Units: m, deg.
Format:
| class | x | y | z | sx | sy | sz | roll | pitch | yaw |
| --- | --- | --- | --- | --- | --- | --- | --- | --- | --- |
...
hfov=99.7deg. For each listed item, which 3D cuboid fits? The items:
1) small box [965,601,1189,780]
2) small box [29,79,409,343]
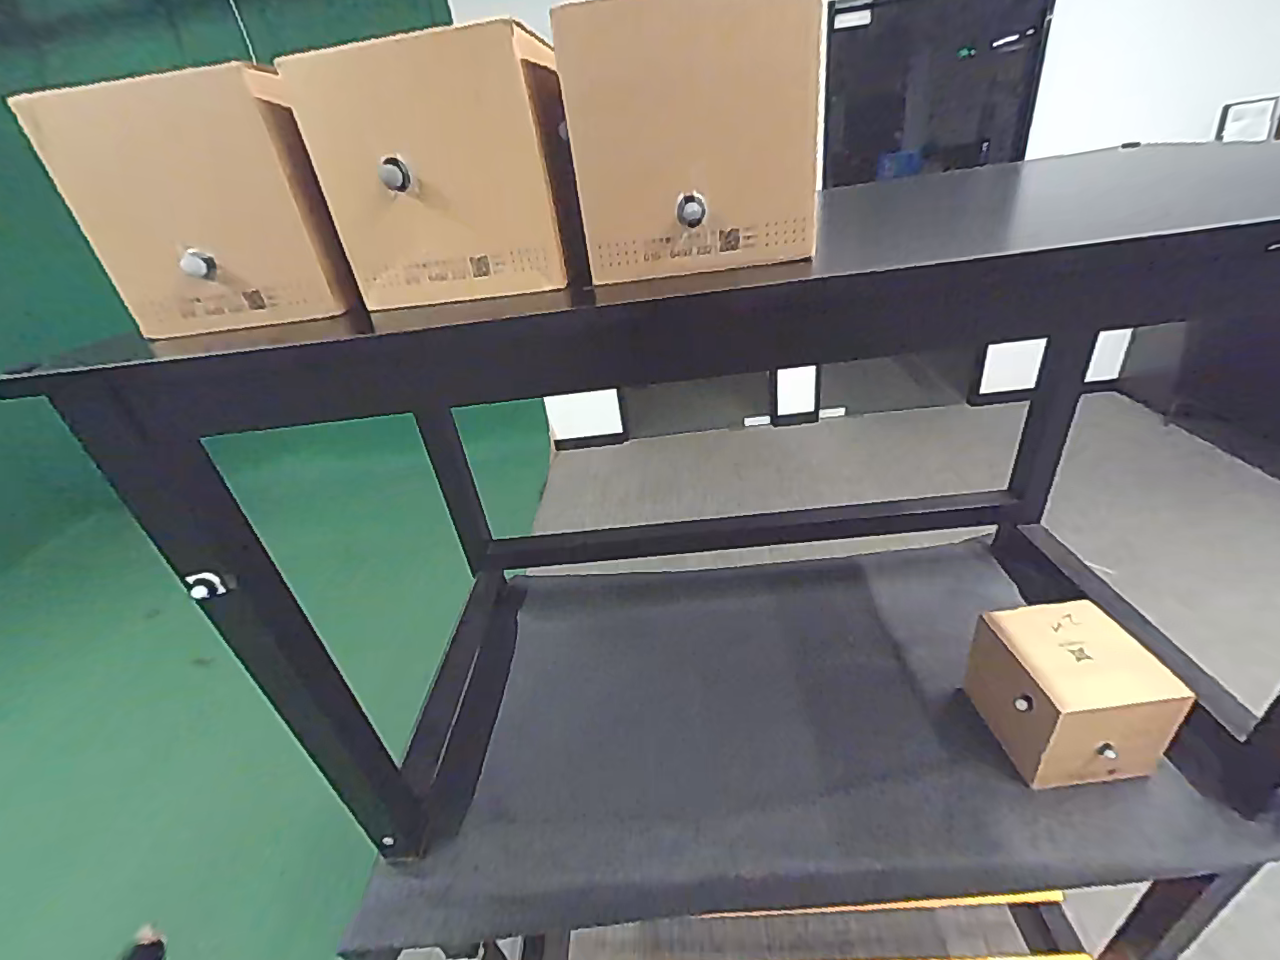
| class | x | y | z | sx | sy | sz | roll | pitch | yaw |
| --- | --- | --- | --- | --- | --- | --- | --- | --- | --- |
| small box | 0.604 | 0.305 | 0.779 | 0.168 | 0.176 | 0.179 | -8 | 29 | 1 |
| small box | -0.327 | -0.230 | 0.474 | 0.168 | 0.176 | 0.179 | -6 | 31 | 3 |
